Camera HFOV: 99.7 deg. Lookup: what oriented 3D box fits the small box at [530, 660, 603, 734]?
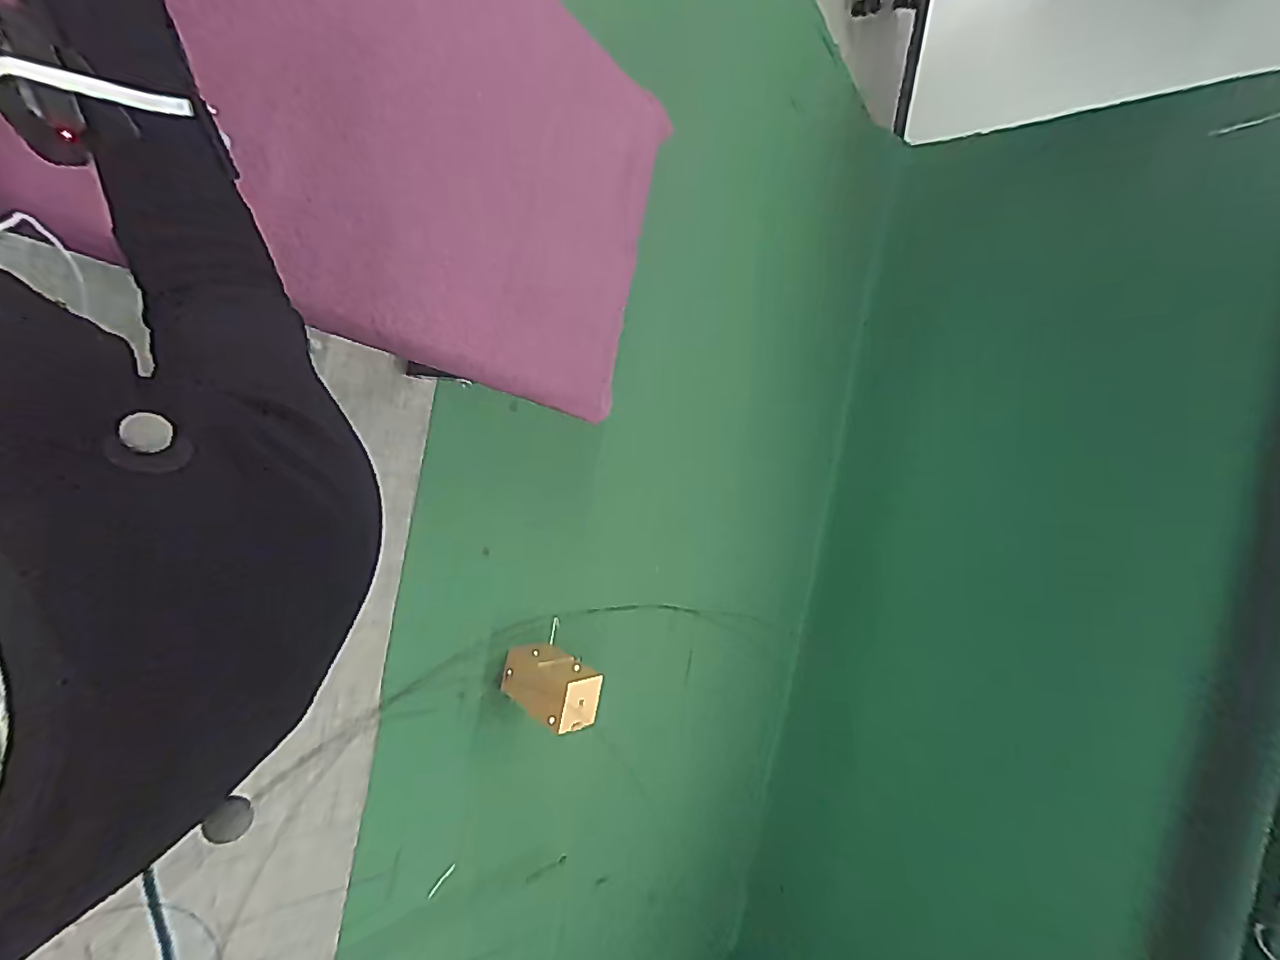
[{"bbox_3d":[-0.255,0.733,1.859,0.168,0.176,0.179,10,93,-49],"label":"small box"}]
